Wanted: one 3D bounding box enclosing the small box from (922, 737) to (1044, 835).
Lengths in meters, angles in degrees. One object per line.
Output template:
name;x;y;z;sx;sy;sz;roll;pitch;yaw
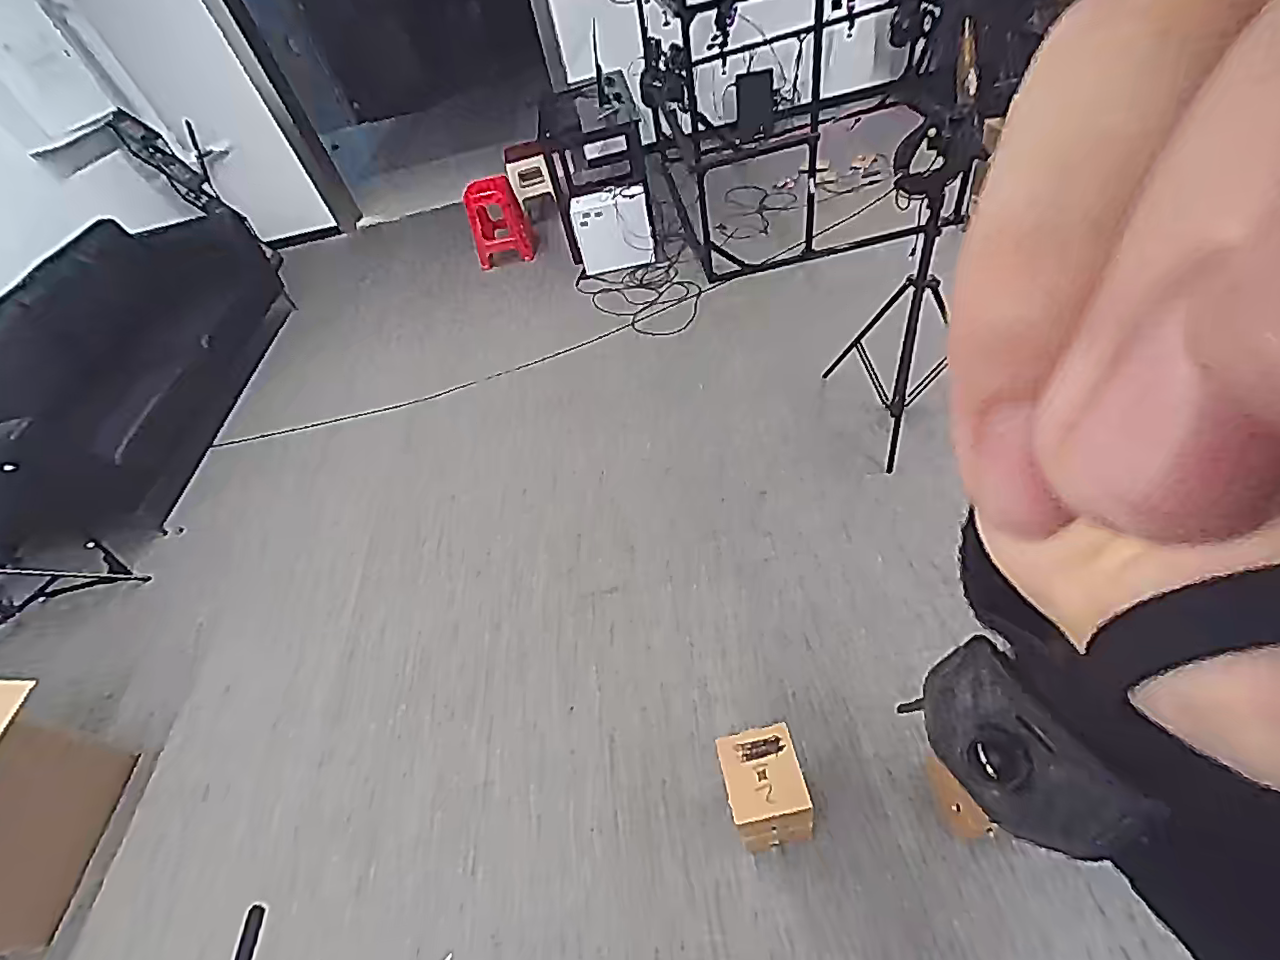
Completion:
small box;0.794;0.715;1.278;0.168;0.176;0.179;-11;48;5

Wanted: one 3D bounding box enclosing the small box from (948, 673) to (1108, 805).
small box;0.725;0.500;1.039;0.168;0.176;0.179;-11;47;5

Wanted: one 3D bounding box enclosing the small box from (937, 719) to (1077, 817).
small box;0.770;0.606;1.158;0.168;0.176;0.179;-11;47;4

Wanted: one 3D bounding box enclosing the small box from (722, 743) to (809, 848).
small box;0.309;0.784;1.342;0.168;0.176;0.179;-15;47;3
